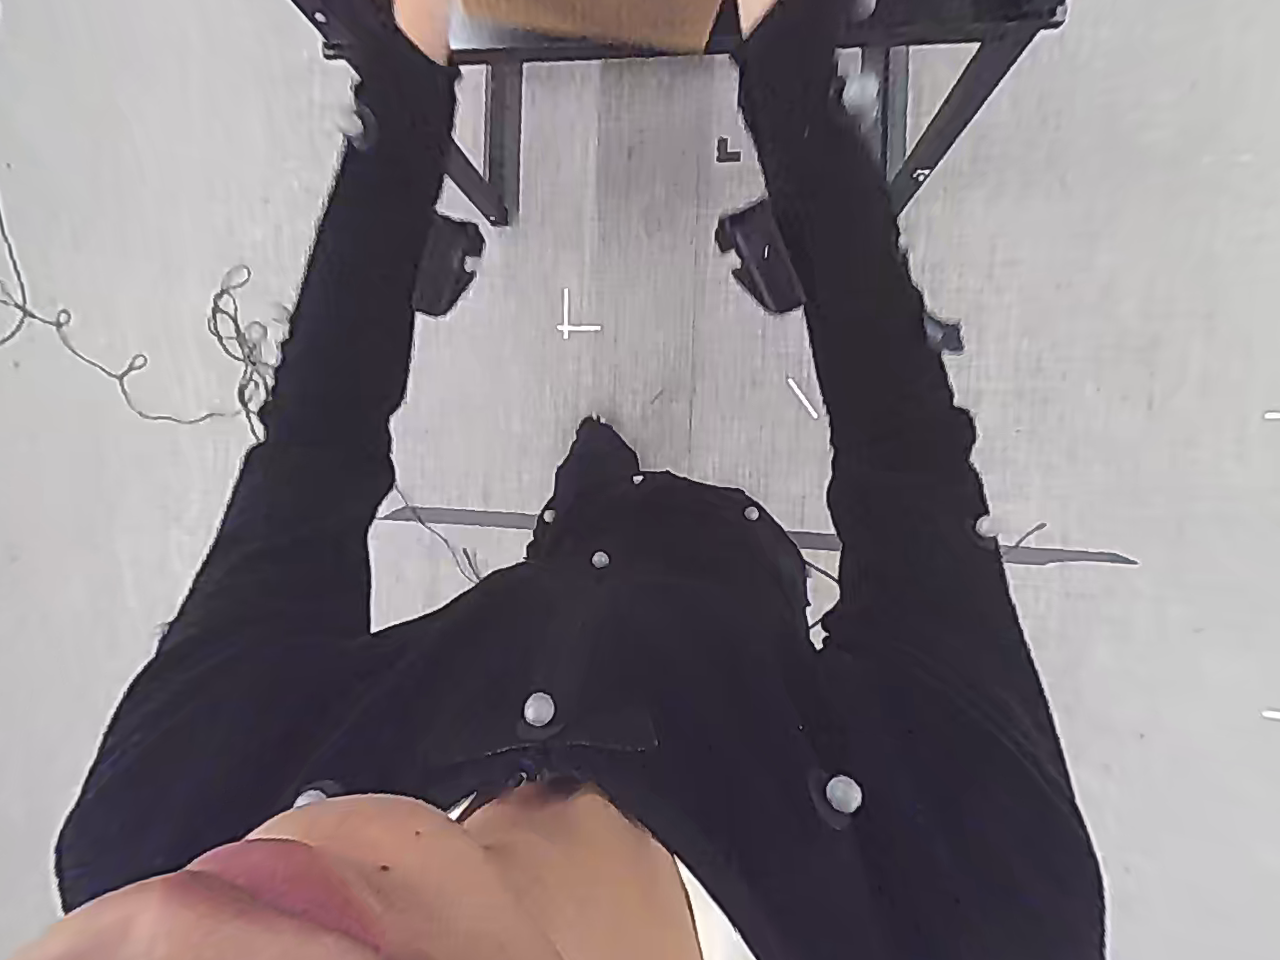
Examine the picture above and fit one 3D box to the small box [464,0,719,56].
[{"bbox_3d":[-0.021,-0.388,0.308,0.179,0.176,0.168,2,97,-10],"label":"small box"}]
